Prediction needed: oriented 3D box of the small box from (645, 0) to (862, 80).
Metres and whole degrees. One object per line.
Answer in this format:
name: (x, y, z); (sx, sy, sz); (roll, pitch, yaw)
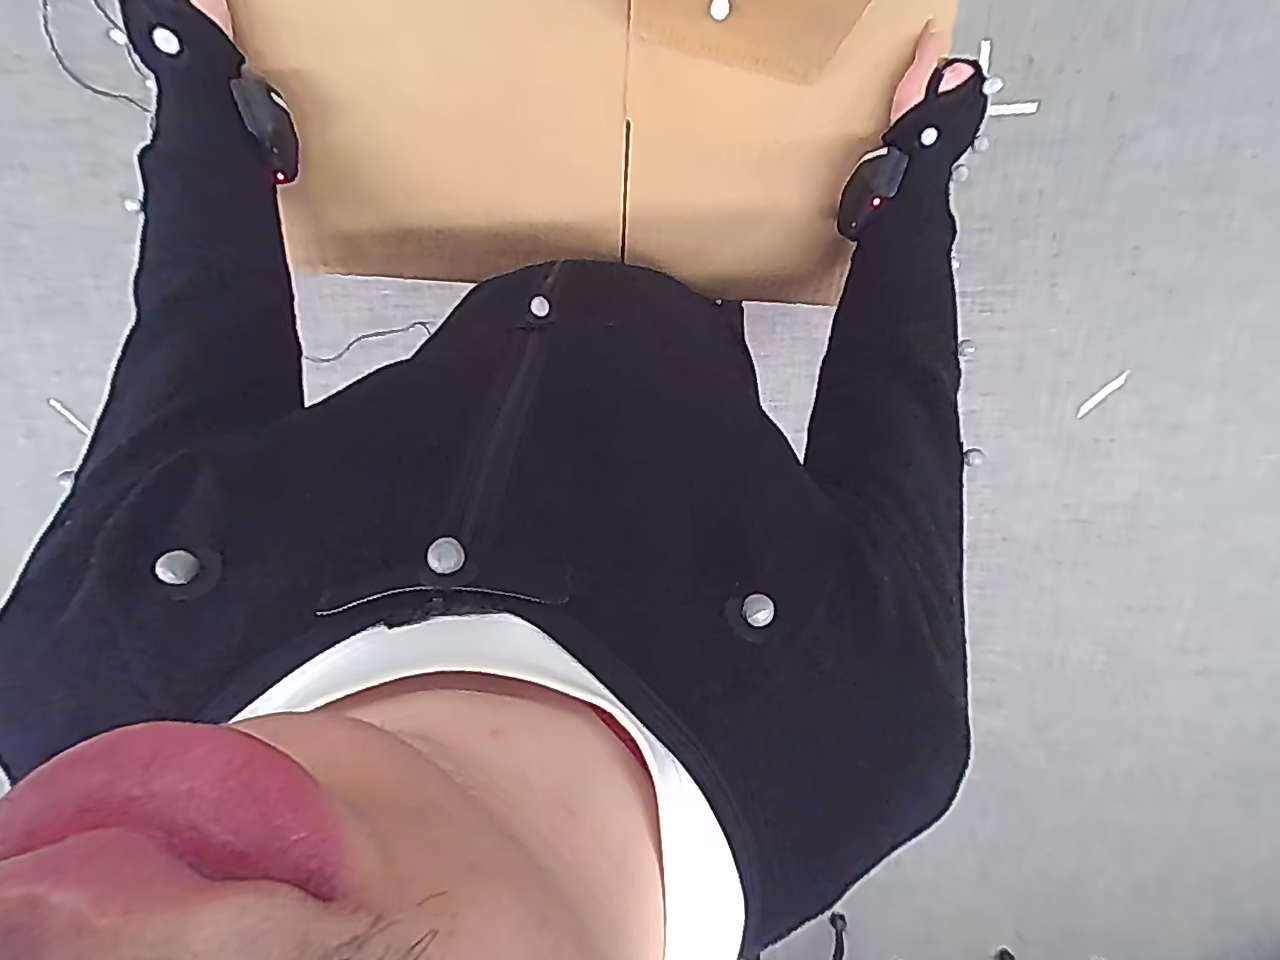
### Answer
small box: (0.103, -0.450, 0.416); (0.179, 0.176, 0.168); (14, 106, -2)
